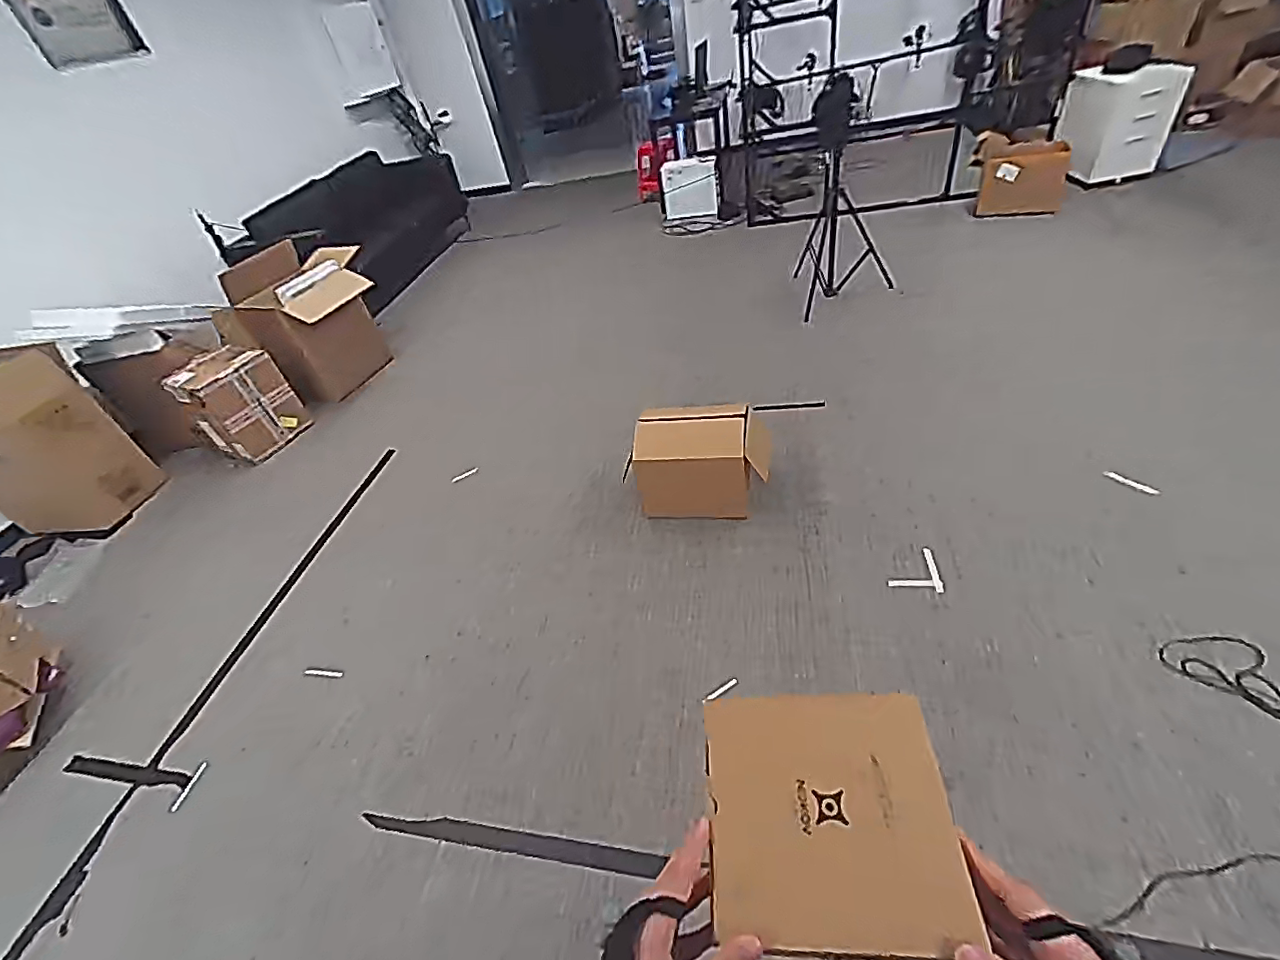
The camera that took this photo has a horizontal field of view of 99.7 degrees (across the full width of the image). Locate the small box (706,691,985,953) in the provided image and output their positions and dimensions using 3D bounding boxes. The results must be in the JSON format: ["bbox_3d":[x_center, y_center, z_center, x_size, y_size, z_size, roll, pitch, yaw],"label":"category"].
[{"bbox_3d":[0.156,0.298,0.470,0.179,0.176,0.168,-5,48,8],"label":"small box"}]
